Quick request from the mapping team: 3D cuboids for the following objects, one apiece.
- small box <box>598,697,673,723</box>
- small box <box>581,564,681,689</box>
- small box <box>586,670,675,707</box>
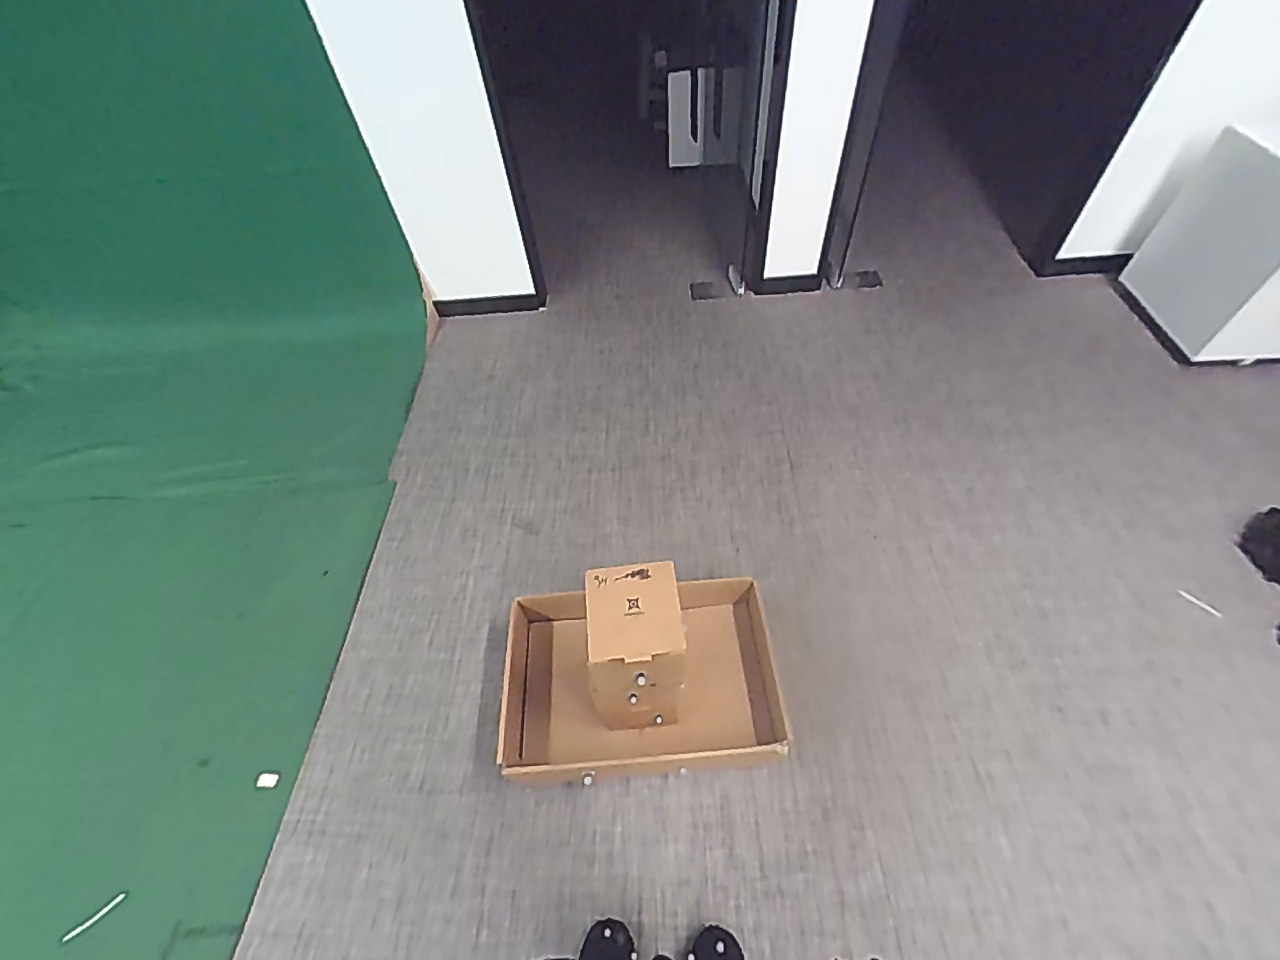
[{"bbox_3d":[-0.010,0.464,1.279,0.168,0.176,0.179,-5,51,-1],"label":"small box"},{"bbox_3d":[-0.015,0.285,1.028,0.168,0.176,0.179,-8,52,-2],"label":"small box"},{"bbox_3d":[-0.017,0.378,1.159,0.179,0.176,0.168,-4,51,1],"label":"small box"}]
